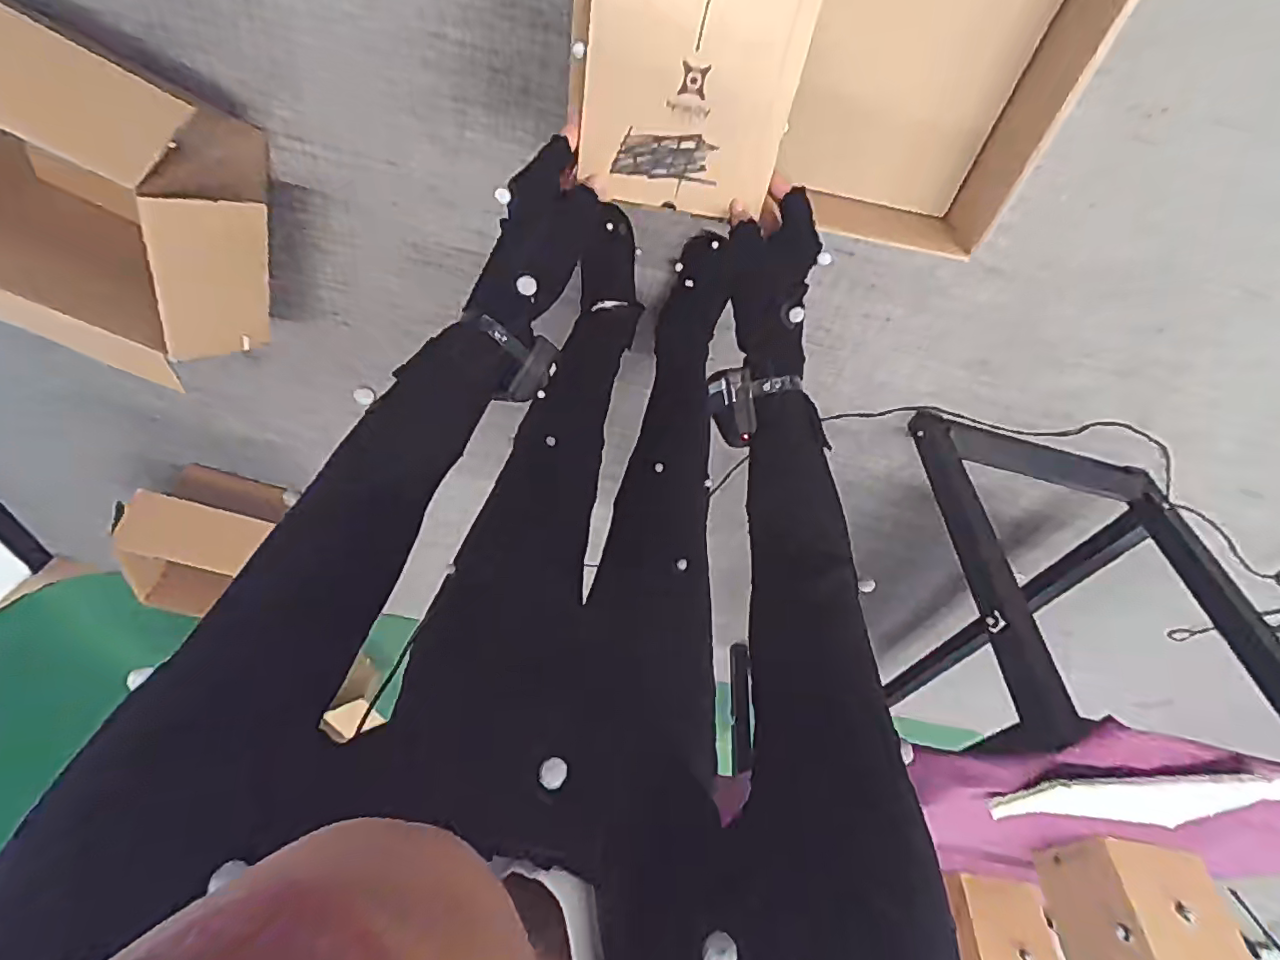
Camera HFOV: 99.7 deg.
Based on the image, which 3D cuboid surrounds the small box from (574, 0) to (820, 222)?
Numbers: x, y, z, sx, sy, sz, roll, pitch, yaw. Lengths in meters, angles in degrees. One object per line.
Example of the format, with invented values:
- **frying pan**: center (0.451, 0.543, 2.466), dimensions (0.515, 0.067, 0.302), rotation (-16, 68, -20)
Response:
- **small box**: center (0.037, -0.358, 0.482), dimensions (0.168, 0.176, 0.179), rotation (7, 130, -7)

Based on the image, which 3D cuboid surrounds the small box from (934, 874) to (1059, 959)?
- **small box**: center (0.710, 0.935, 1.116), dimensions (0.179, 0.176, 0.168), rotation (13, 134, -5)
